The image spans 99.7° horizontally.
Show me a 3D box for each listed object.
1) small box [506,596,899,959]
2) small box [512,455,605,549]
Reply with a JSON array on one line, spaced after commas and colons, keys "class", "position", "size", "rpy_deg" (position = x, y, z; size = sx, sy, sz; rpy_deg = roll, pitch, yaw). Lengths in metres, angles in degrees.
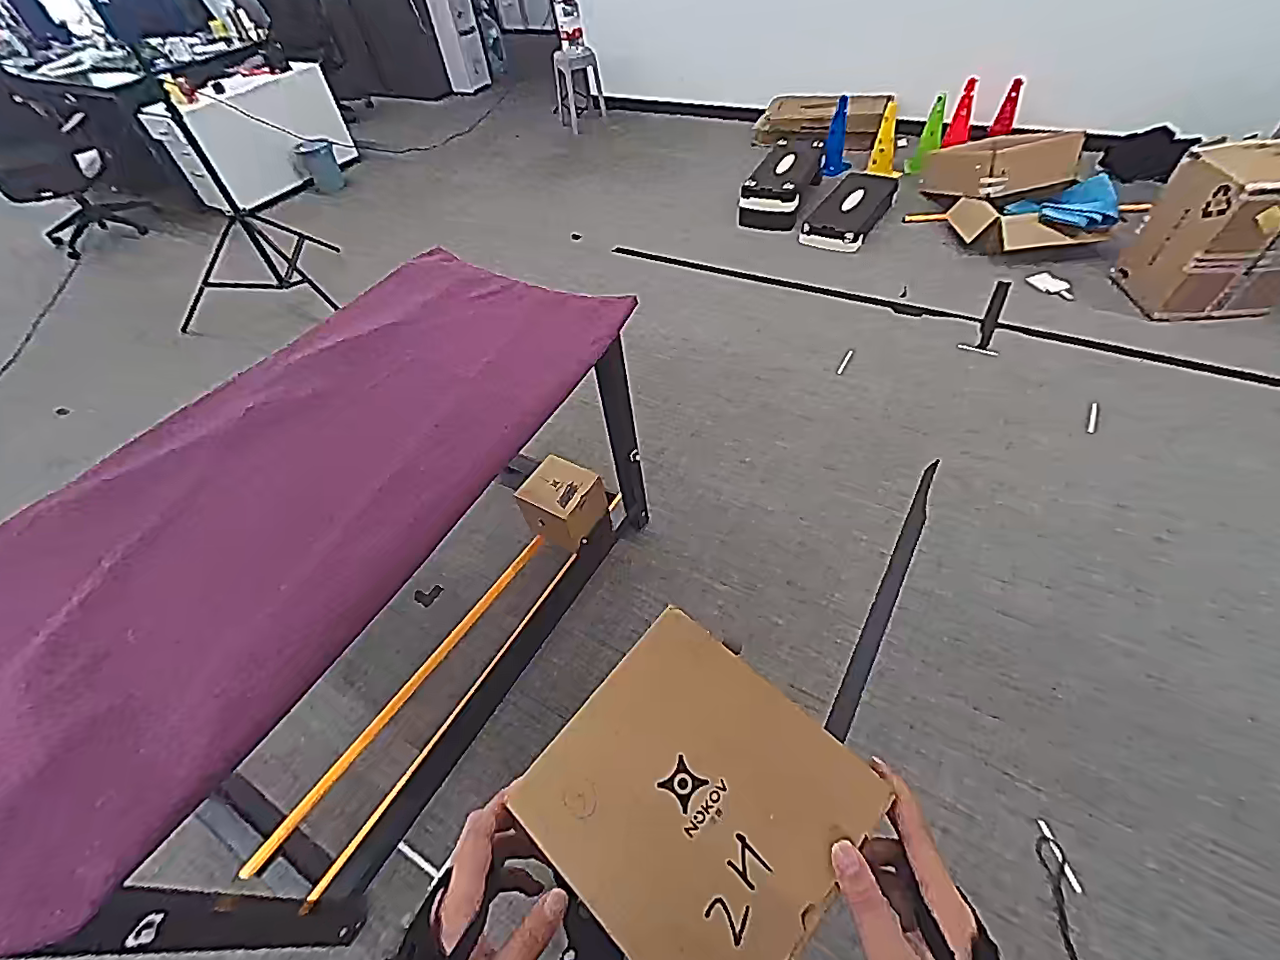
[{"class": "small box", "position": [0.042, 0.219, 0.389], "size": [0.179, 0.176, 0.168], "rpy_deg": [36, 74, 24]}, {"class": "small box", "position": [-0.215, 0.065, 1.484], "size": [0.179, 0.176, 0.168], "rpy_deg": [22, 57, 24]}]
